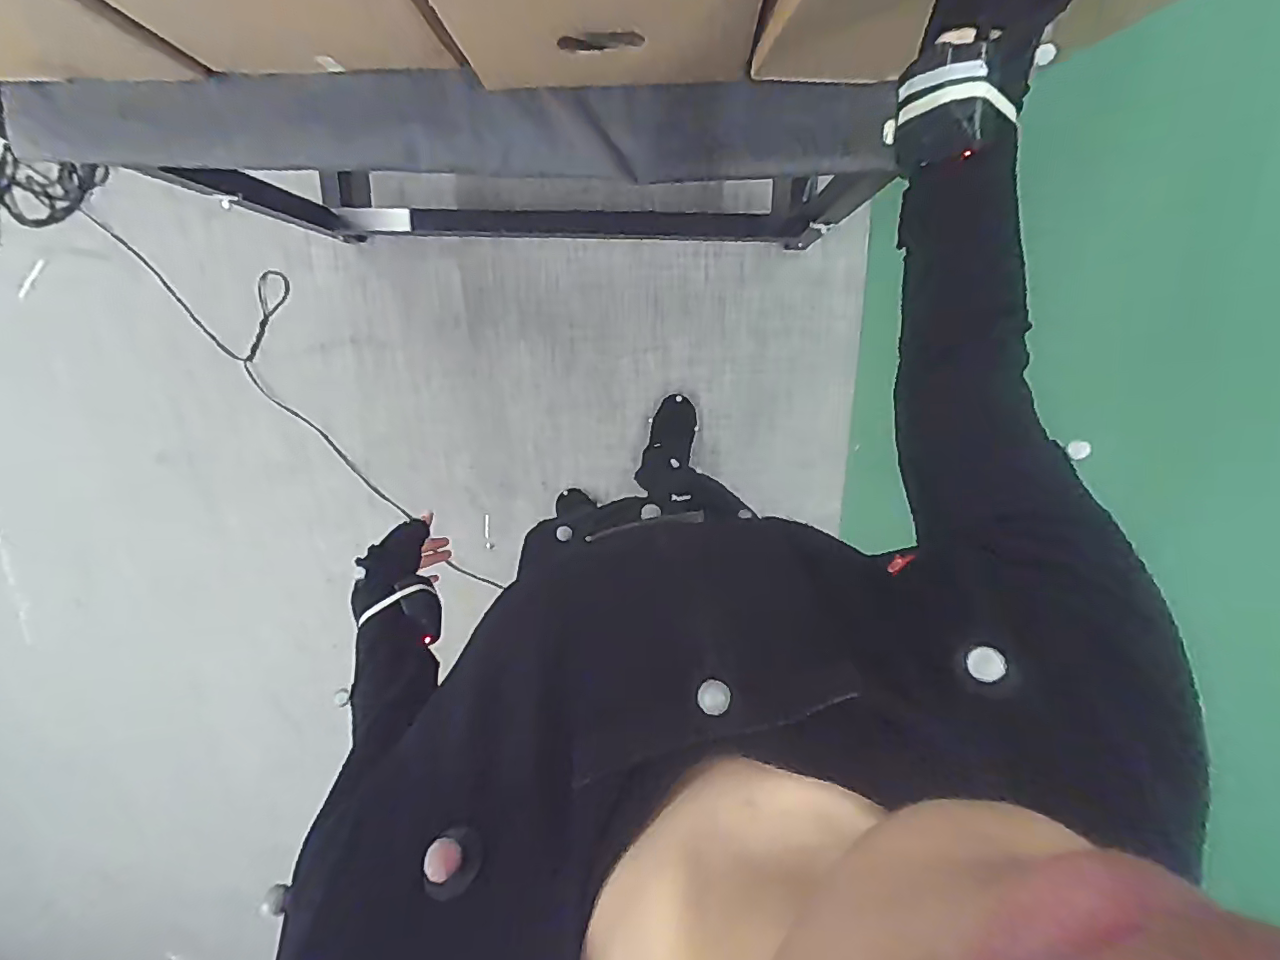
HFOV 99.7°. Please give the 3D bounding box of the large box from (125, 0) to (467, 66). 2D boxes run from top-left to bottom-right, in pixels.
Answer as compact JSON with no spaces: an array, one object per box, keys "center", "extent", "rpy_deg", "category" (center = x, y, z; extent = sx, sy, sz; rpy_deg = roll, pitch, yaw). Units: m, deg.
[{"center":[-0.361,-0.656,0.457],"extent":[0.320,0.320,0.408],"rpy_deg":[1,104,4],"category":"large box"}]
